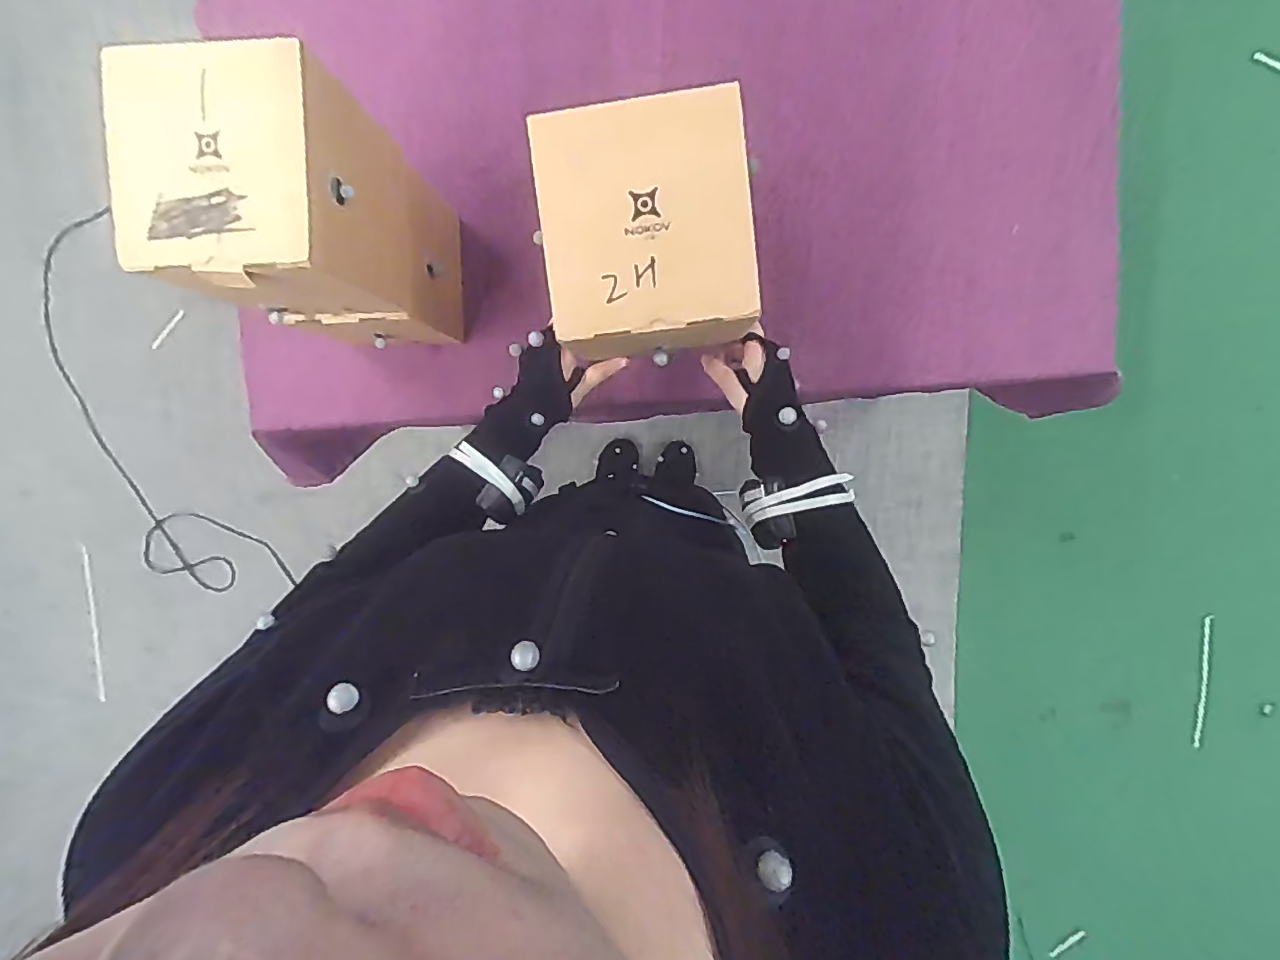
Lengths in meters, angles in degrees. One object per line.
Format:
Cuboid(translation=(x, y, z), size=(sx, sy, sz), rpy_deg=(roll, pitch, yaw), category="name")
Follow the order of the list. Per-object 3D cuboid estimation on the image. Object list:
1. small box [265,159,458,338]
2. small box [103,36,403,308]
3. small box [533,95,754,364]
Cuboid(translation=(-0.337, -0.275, 0.675), size=(0.168, 0.176, 0.179), rpy_deg=(-1, 96, 1), category="small box")
Cuboid(translation=(-0.340, -0.267, 0.511), size=(0.168, 0.176, 0.179), rpy_deg=(1, 94, 2), category="small box")
Cuboid(translation=(0.006, -0.211, 0.503), size=(0.168, 0.176, 0.179), rpy_deg=(-5, 97, 3), category="small box")
